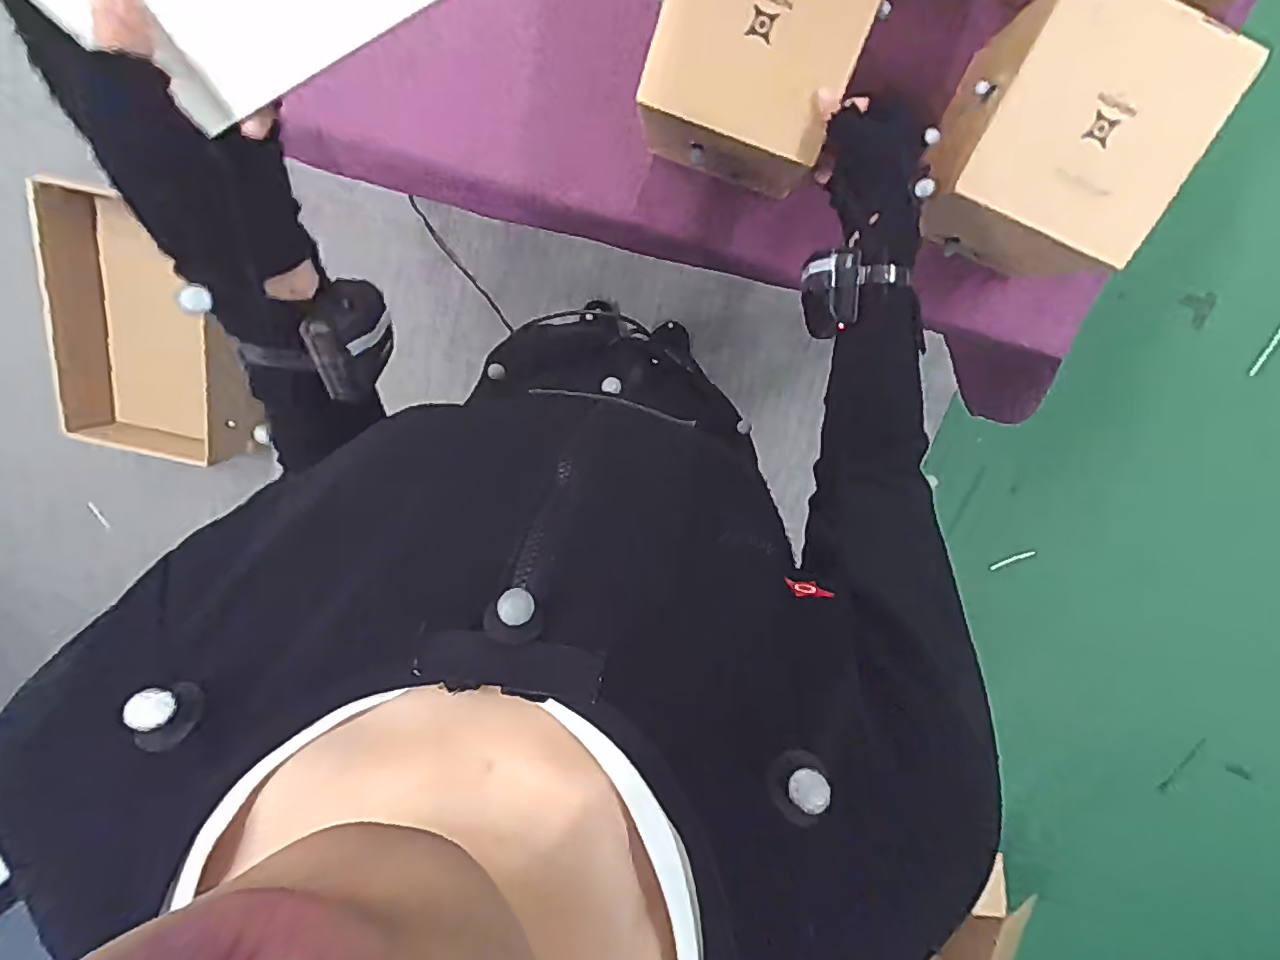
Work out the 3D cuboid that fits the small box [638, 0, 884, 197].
[{"bbox_3d":[0.109,-0.393,0.511,0.168,0.176,0.179,19,108,-2],"label":"small box"}]
